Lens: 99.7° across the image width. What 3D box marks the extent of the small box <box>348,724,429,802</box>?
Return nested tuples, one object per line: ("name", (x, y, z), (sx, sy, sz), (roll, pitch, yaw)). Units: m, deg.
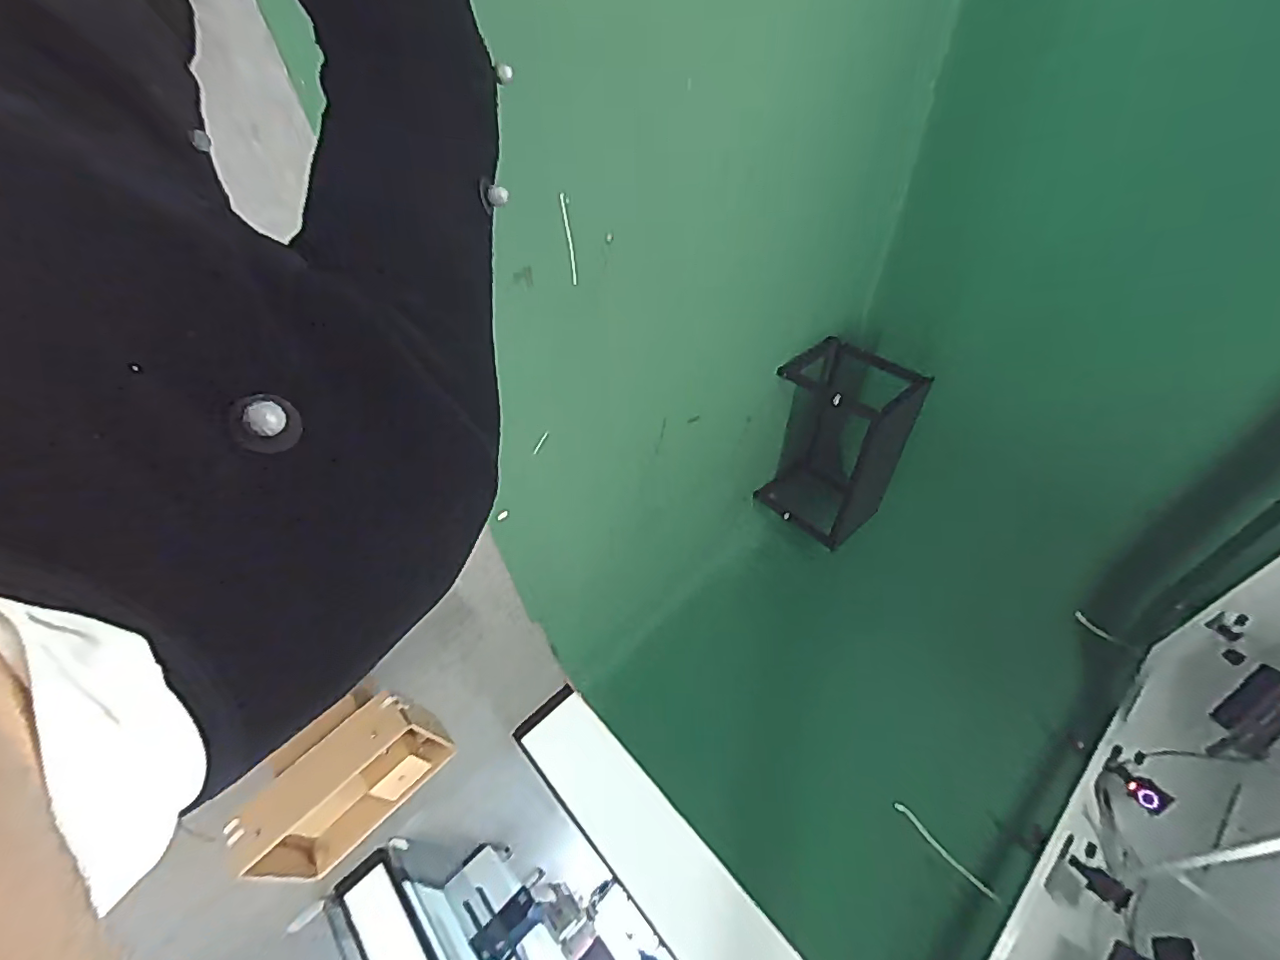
("small box", (-0.898, 1.002, 1.925), (0.168, 0.176, 0.179), (-41, 147, -20))
